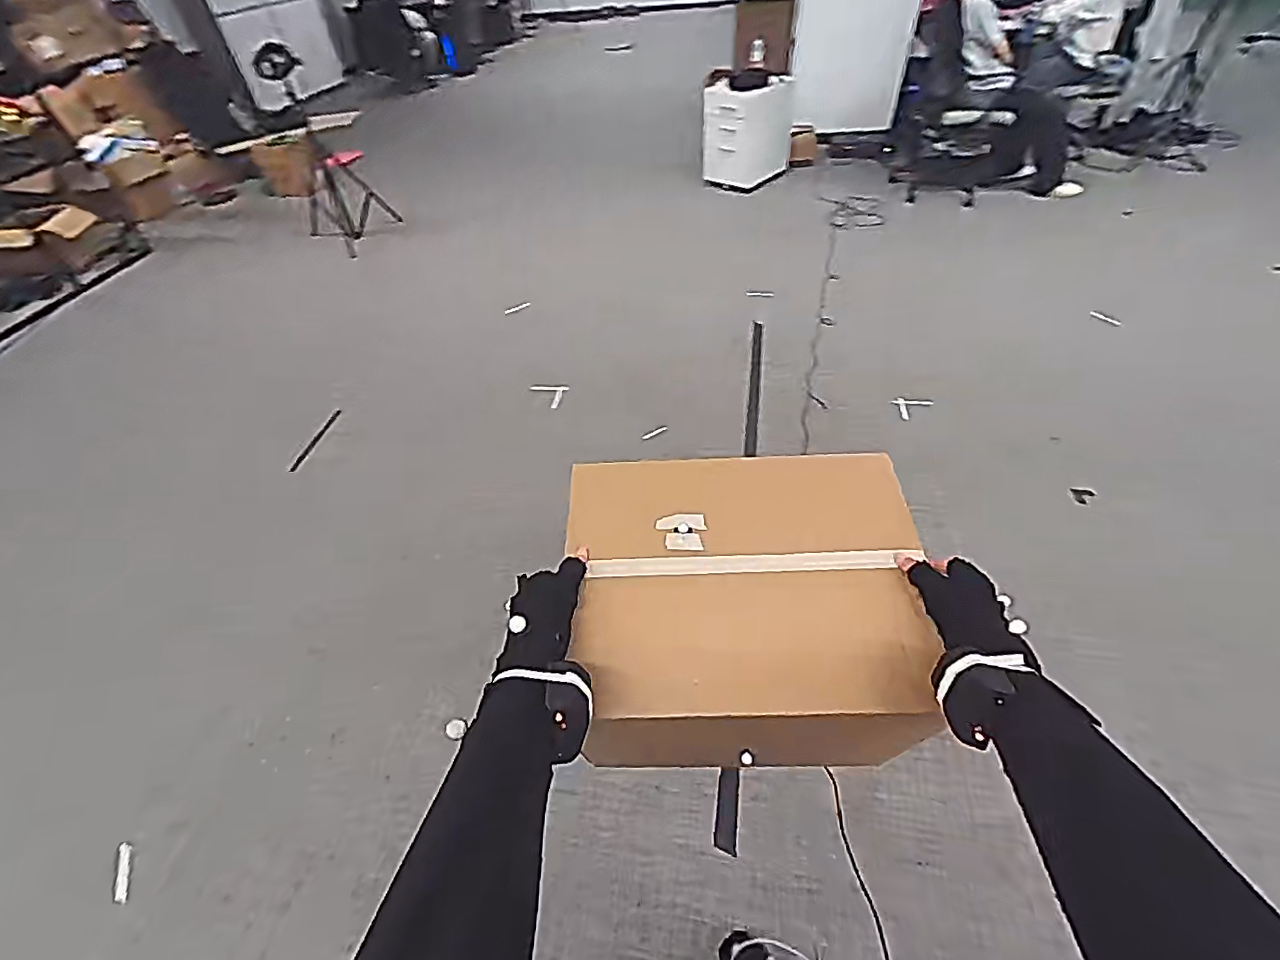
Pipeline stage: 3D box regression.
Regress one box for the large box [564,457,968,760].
[{"bbox_3d":[0.132,0.189,0.737,0.408,0.320,0.320,-2,53,3],"label":"large box"}]
